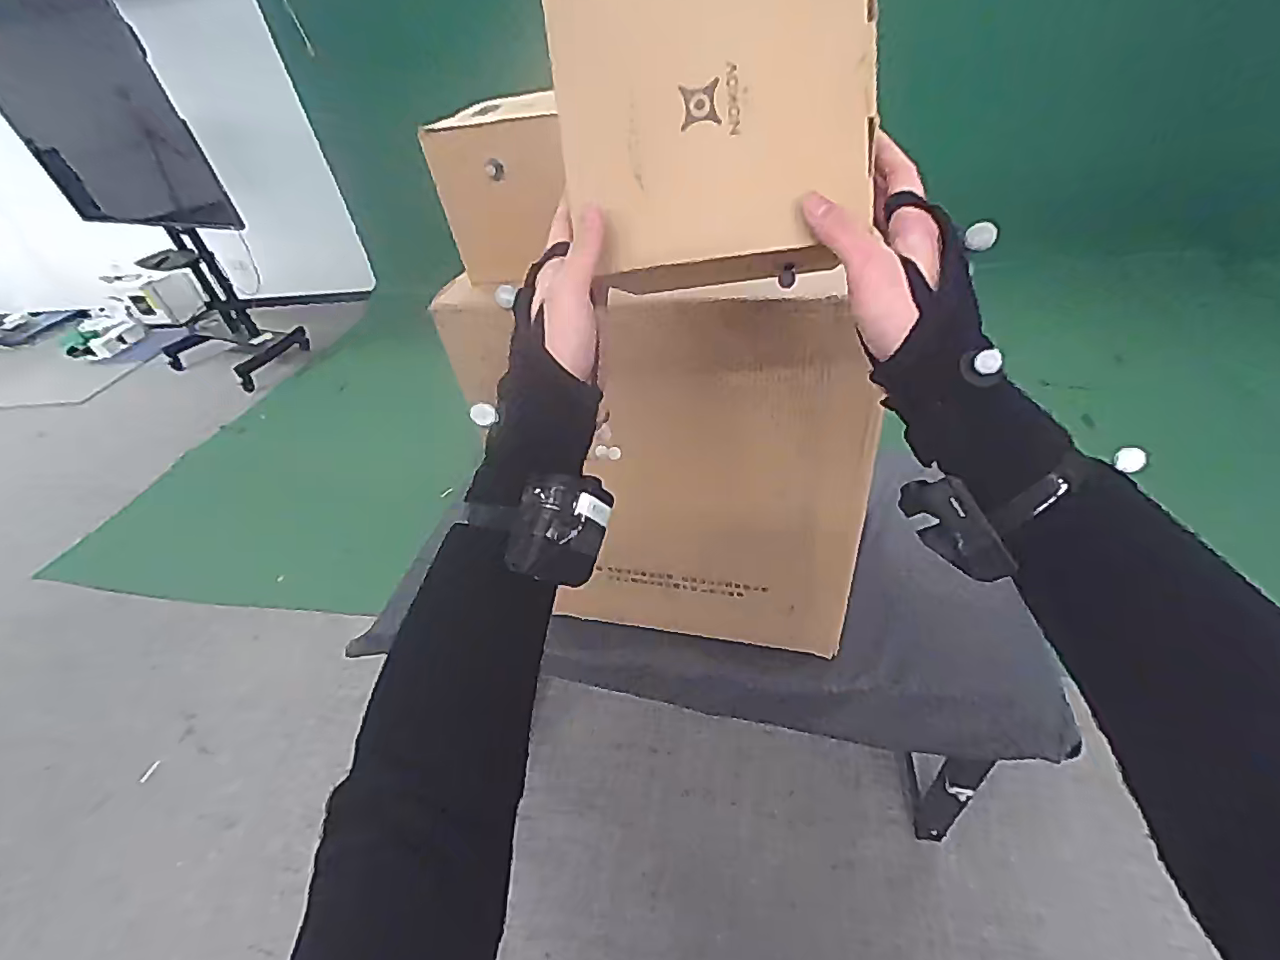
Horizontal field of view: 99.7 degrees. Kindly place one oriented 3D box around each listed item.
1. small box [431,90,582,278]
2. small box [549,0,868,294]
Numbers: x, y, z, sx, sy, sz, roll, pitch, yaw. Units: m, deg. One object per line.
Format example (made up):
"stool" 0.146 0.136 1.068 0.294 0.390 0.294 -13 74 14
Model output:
"small box" -0.114 -0.363 0.669 0.179 0.176 0.168 4 46 18
"small box" 0.056 -0.234 0.387 0.179 0.168 0.176 -3 13 15
